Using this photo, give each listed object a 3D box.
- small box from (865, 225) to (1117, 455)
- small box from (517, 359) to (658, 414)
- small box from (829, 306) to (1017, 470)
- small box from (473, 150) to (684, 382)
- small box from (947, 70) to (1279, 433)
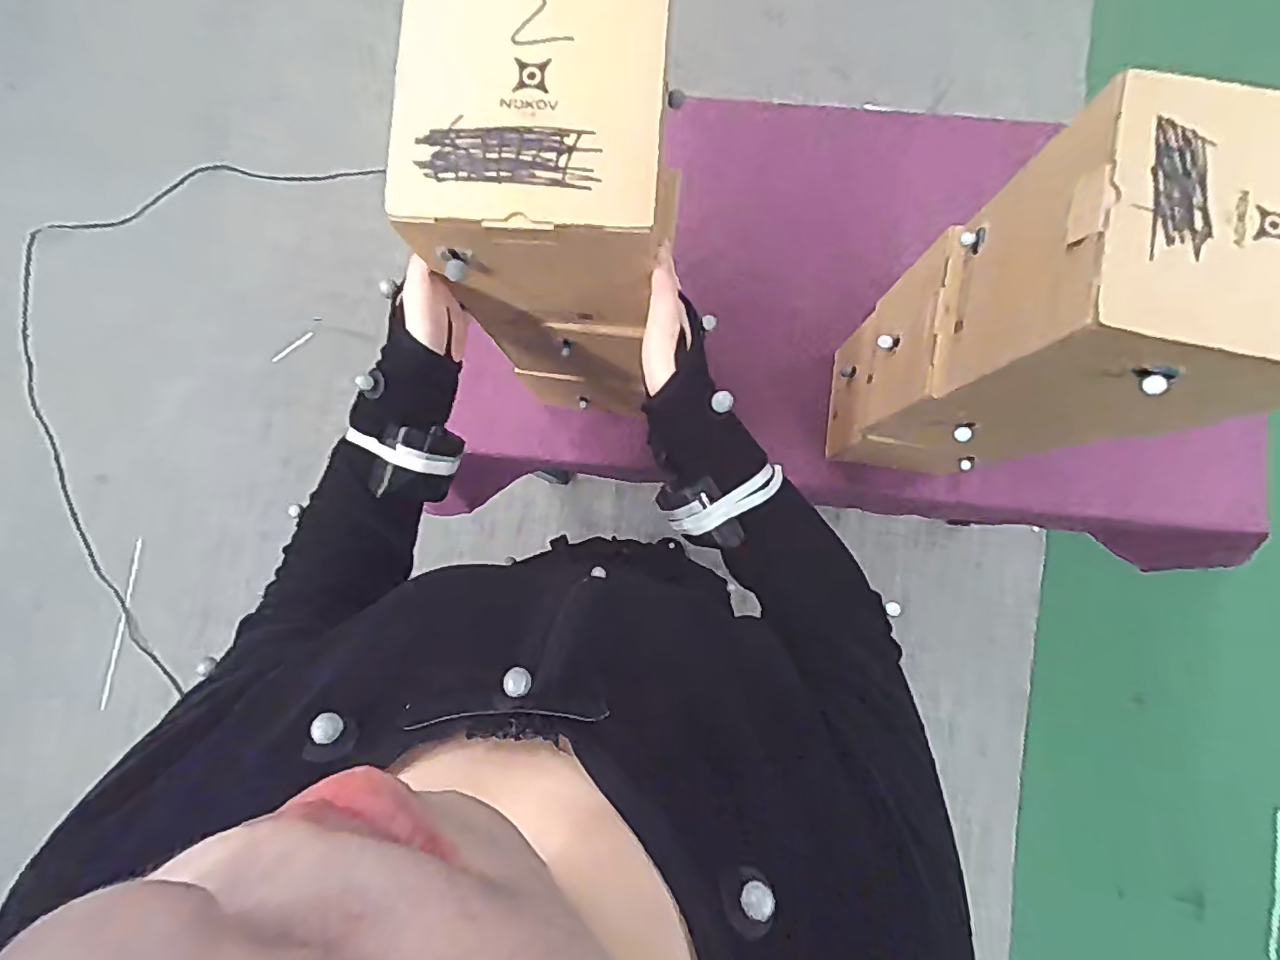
[{"bbox_3d":[0.353,-0.127,0.554,0.179,0.176,0.168,11,85,3],"label":"small box"},{"bbox_3d":[-0.053,-0.196,0.736,0.168,0.176,0.179,9,85,2],"label":"small box"},{"bbox_3d":[0.365,-0.110,0.717,0.179,0.176,0.168,8,85,2],"label":"small box"},{"bbox_3d":[-0.053,-0.210,0.573,0.179,0.176,0.168,8,86,2],"label":"small box"},{"bbox_3d":[0.357,-0.139,0.389,0.179,0.176,0.168,12,85,1],"label":"small box"}]
